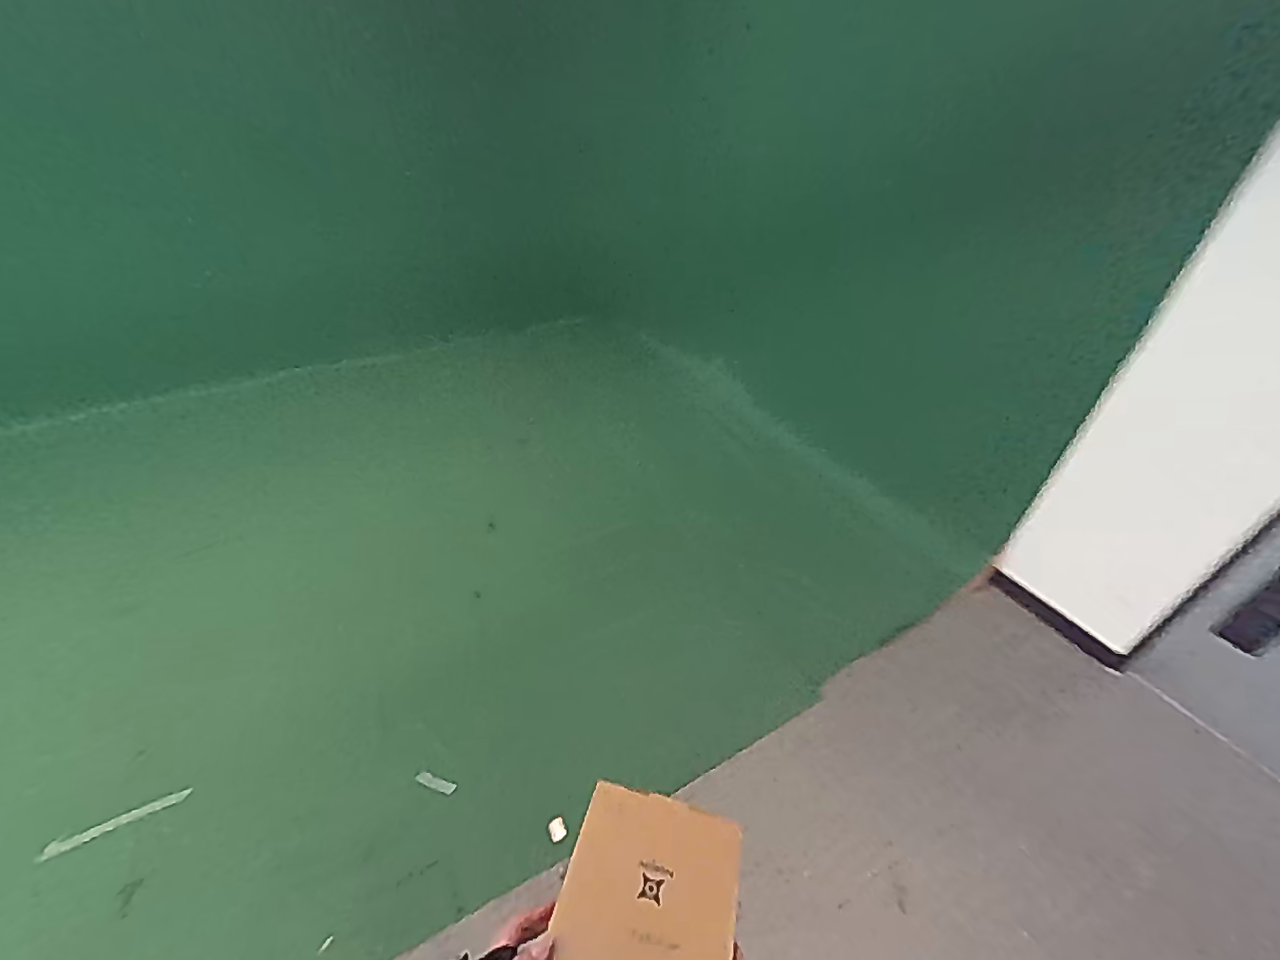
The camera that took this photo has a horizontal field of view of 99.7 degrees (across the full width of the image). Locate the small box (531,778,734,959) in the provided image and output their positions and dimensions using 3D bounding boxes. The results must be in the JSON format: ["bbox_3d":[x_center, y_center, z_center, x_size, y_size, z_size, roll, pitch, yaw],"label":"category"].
[{"bbox_3d":[-0.004,0.459,0.560,0.168,0.176,0.179,10,29,10],"label":"small box"}]
